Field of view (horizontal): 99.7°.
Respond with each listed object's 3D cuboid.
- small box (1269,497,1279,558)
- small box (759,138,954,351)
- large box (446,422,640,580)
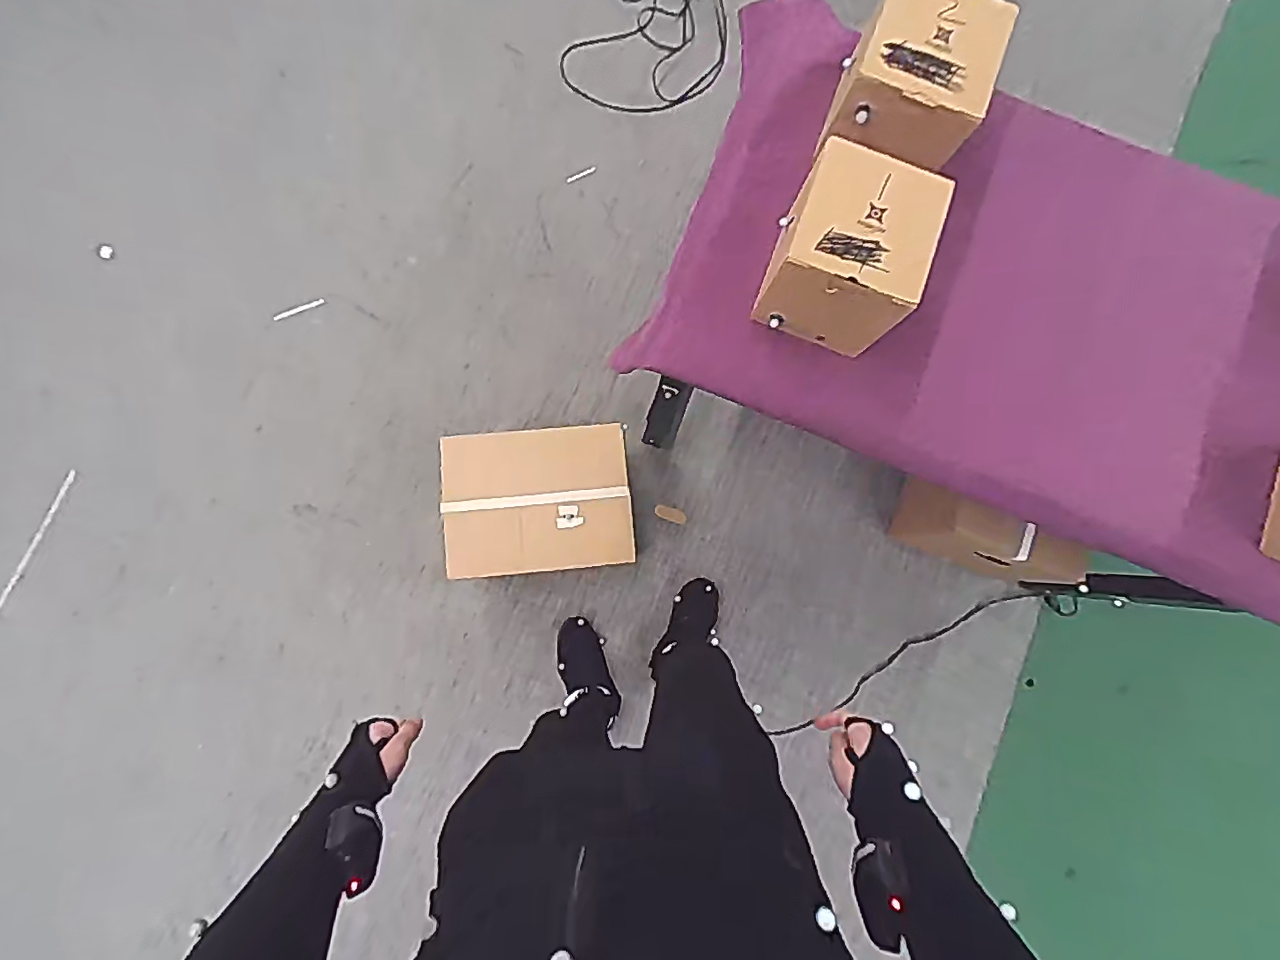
[{"bbox_3d":[1.007,0.043,0.710,0.168,0.176,0.179,24,79,3],"label":"small box"},{"bbox_3d":[0.274,-0.299,0.724,0.168,0.176,0.179,21,80,0],"label":"small box"},{"bbox_3d":[-0.223,0.062,1.318,0.408,0.320,0.320,-5,83,-5],"label":"large box"}]
